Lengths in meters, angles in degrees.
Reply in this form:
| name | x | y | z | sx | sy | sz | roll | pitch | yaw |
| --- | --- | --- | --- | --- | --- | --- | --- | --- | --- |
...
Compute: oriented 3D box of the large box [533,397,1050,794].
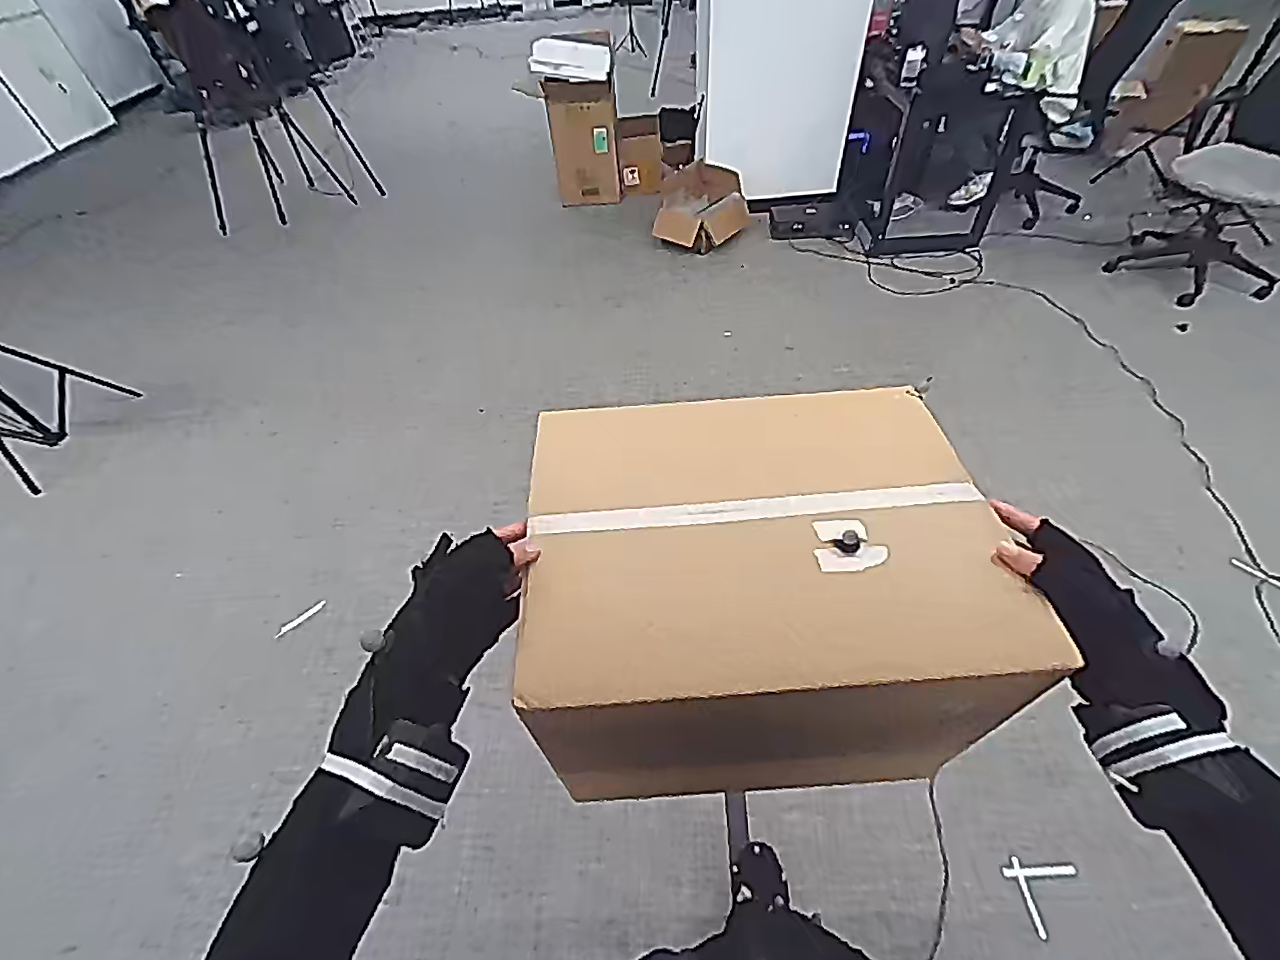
| name | x | y | z | sx | sy | sz | roll | pitch | yaw |
| --- | --- | --- | --- | --- | --- | --- | --- | --- | --- |
| large box | 0.109 | 0.134 | 0.612 | 0.408 | 0.320 | 0.320 | -4 | 49 | -1 |
